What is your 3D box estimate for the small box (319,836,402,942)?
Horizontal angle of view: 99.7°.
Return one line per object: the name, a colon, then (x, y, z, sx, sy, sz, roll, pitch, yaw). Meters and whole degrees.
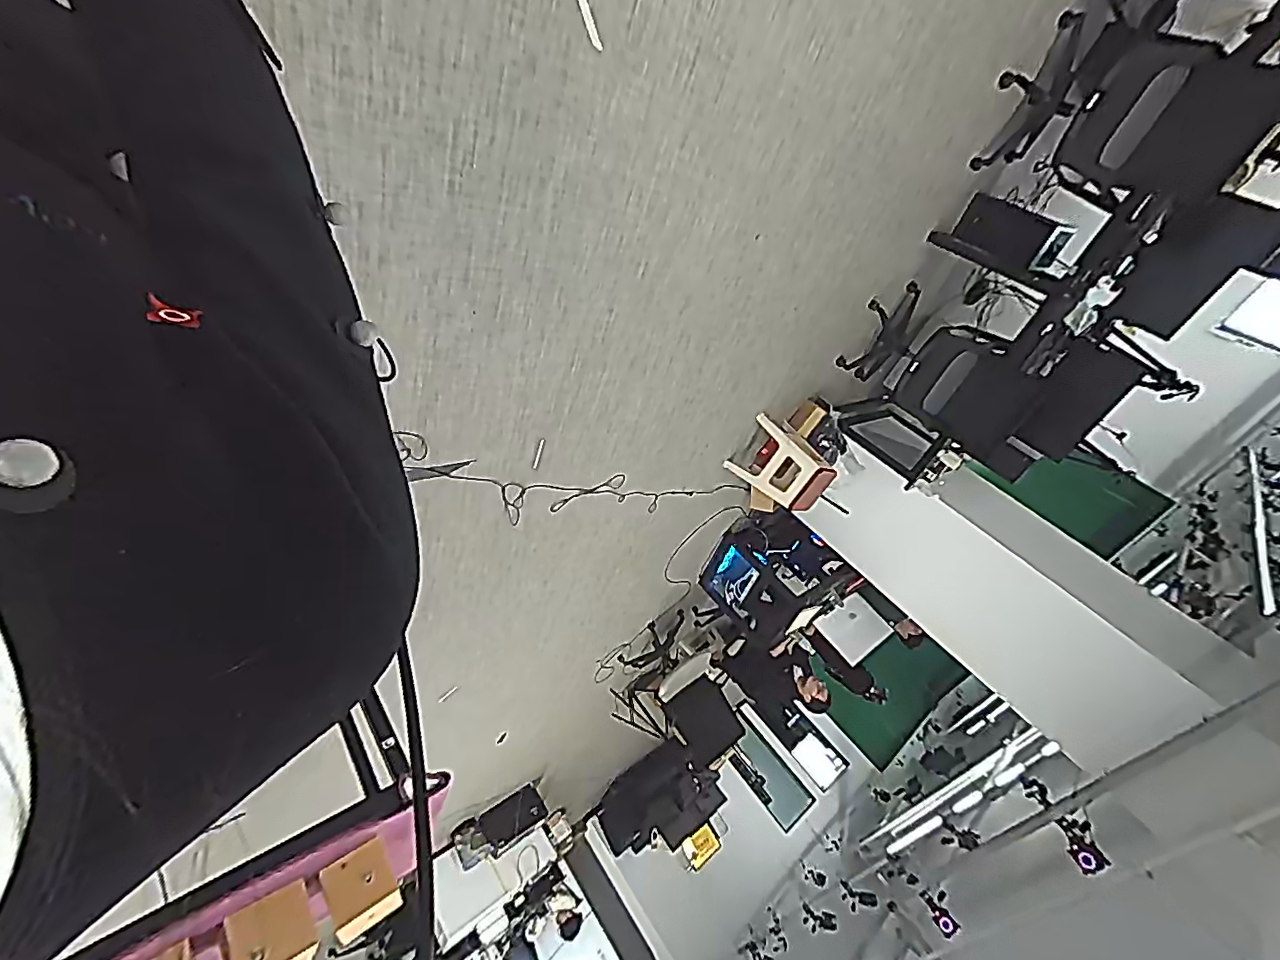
small box: (-0.810, 1.180, 1.571, 0.168, 0.176, 0.179, -20, 142, -36)
